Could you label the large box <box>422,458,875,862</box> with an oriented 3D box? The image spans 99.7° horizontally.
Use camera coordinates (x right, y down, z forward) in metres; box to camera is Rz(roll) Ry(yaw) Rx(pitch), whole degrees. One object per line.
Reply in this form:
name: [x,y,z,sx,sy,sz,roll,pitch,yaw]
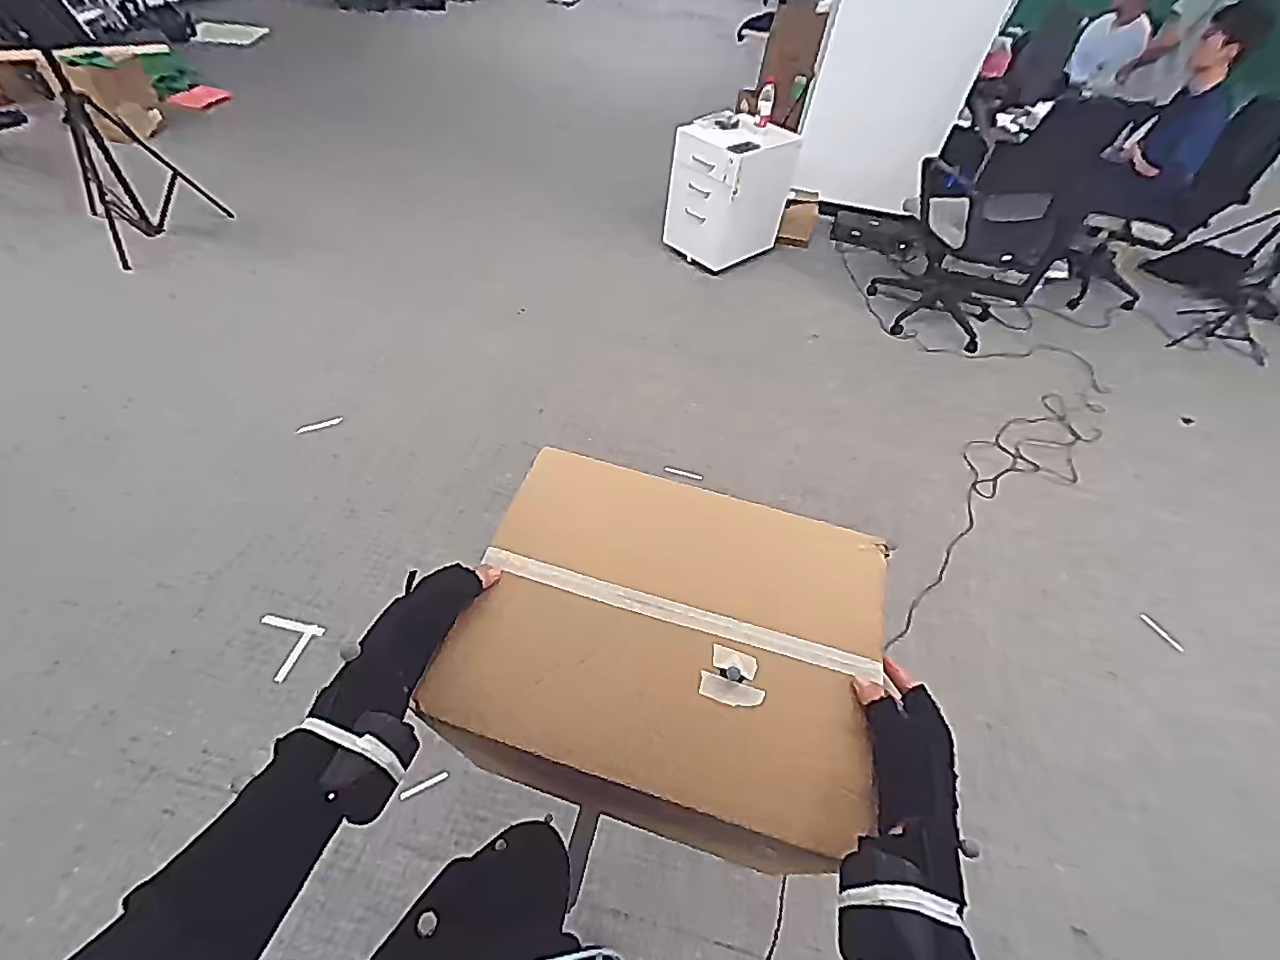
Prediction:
large box: [0.022,0.225,0.663,0.408,0.320,0.320,16,55,6]
